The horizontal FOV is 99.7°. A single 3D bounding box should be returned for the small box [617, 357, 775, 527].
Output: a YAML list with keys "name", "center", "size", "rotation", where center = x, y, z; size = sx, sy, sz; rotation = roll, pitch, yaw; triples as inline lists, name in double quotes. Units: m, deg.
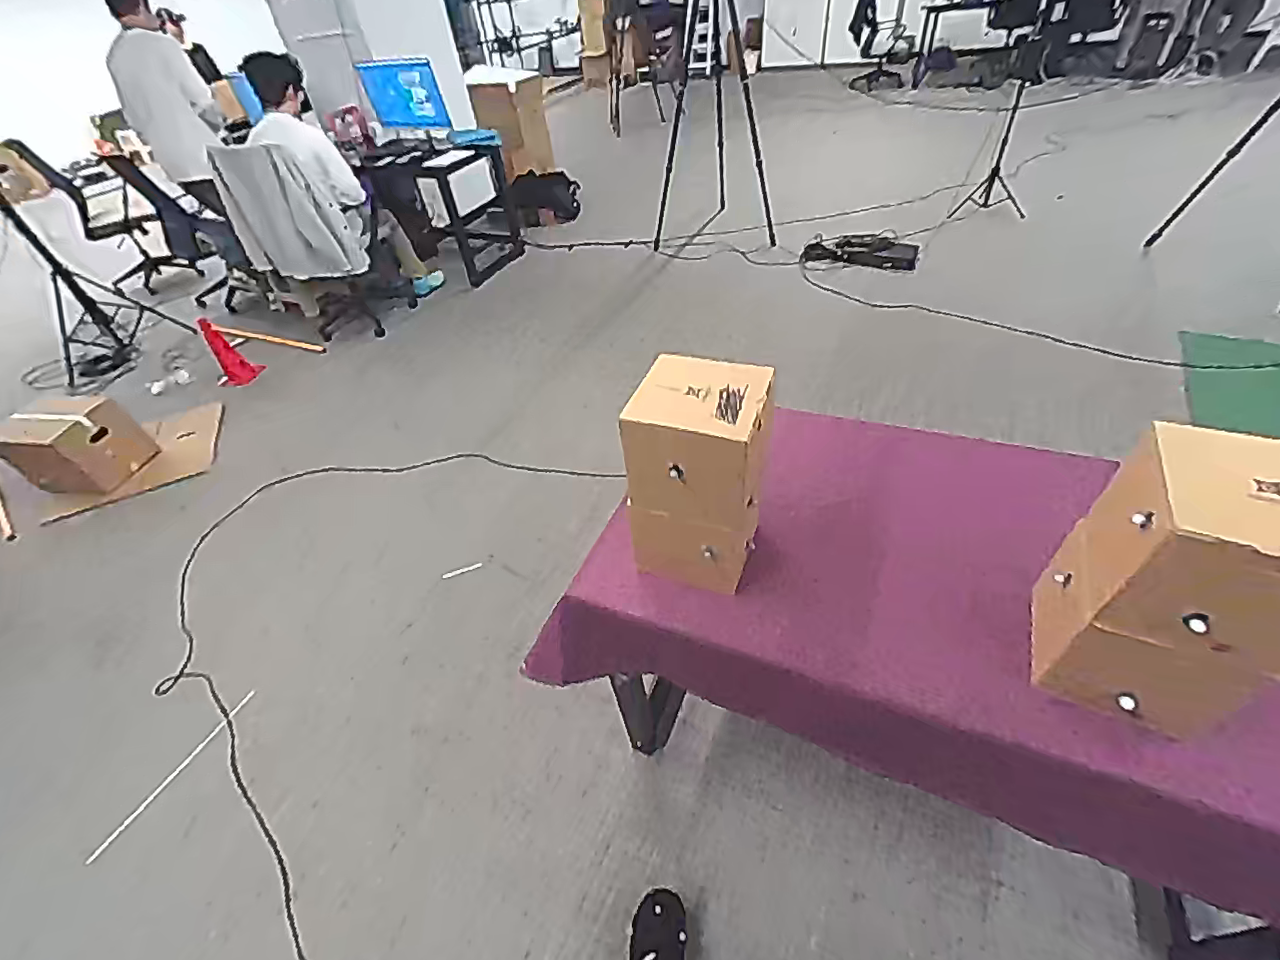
- name: "small box"
  center: [0.086, -0.054, 0.781]
  size: [0.179, 0.176, 0.168]
  rotation: [12, 47, 20]

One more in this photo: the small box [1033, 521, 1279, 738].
- name: "small box"
  center: [0.625, 0.186, 0.686]
  size: [0.168, 0.176, 0.179]
  rotation: [15, 49, 24]

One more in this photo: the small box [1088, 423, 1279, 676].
- name: "small box"
  center: [0.610, 0.070, 0.572]
  size: [0.168, 0.176, 0.179]
  rotation: [15, 50, 23]
